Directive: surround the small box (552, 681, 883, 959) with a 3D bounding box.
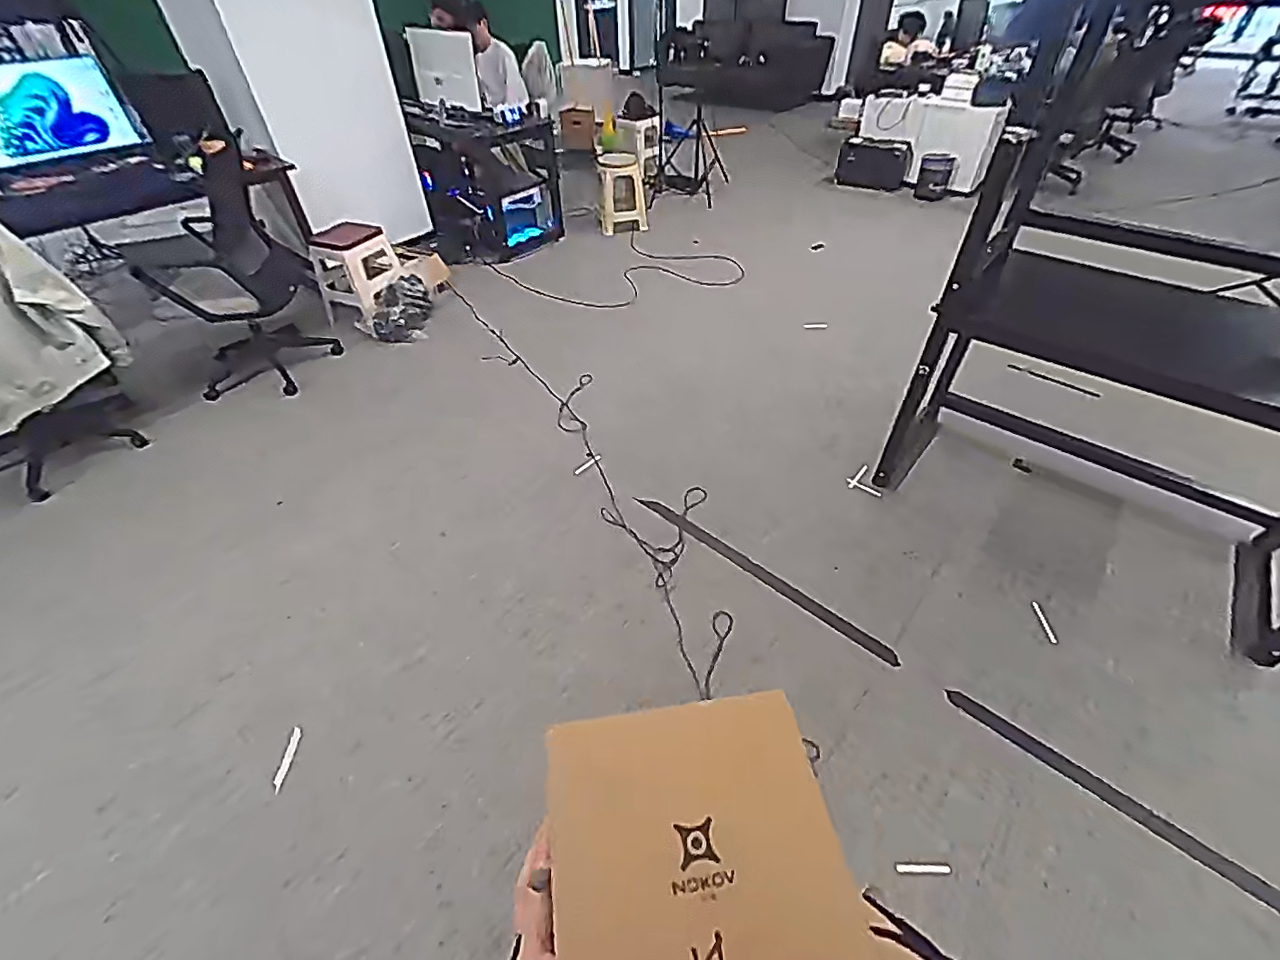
[{"bbox_3d":[0.030,0.262,0.363,0.168,0.176,0.179,-5,48,-8],"label":"small box"}]
